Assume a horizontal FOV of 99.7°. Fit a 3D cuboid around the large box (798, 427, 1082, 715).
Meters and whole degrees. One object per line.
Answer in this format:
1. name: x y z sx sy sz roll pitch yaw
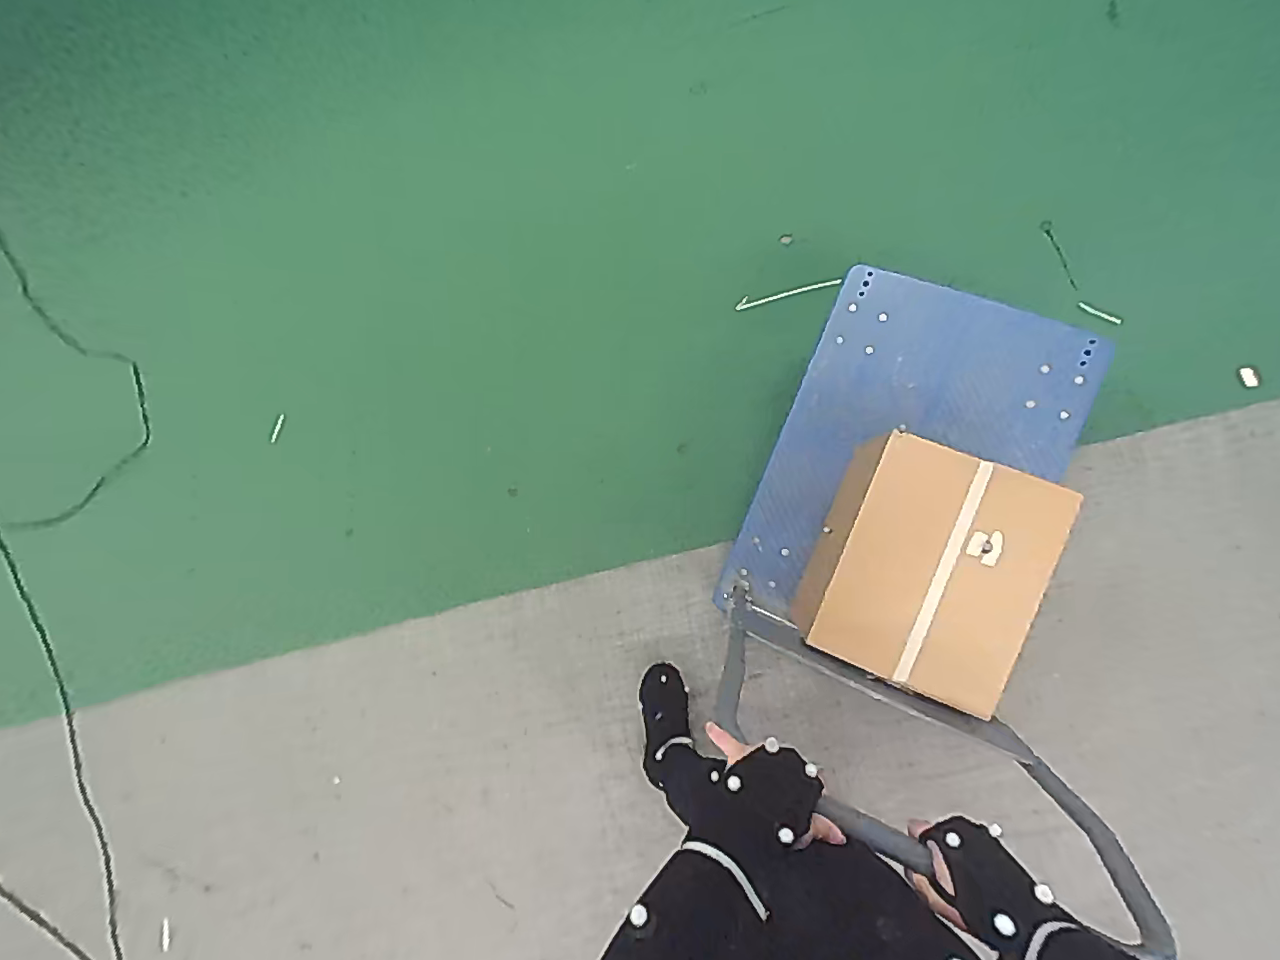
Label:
1. large box: 0.533 0.157 1.047 0.320 0.320 0.408 22 90 10
